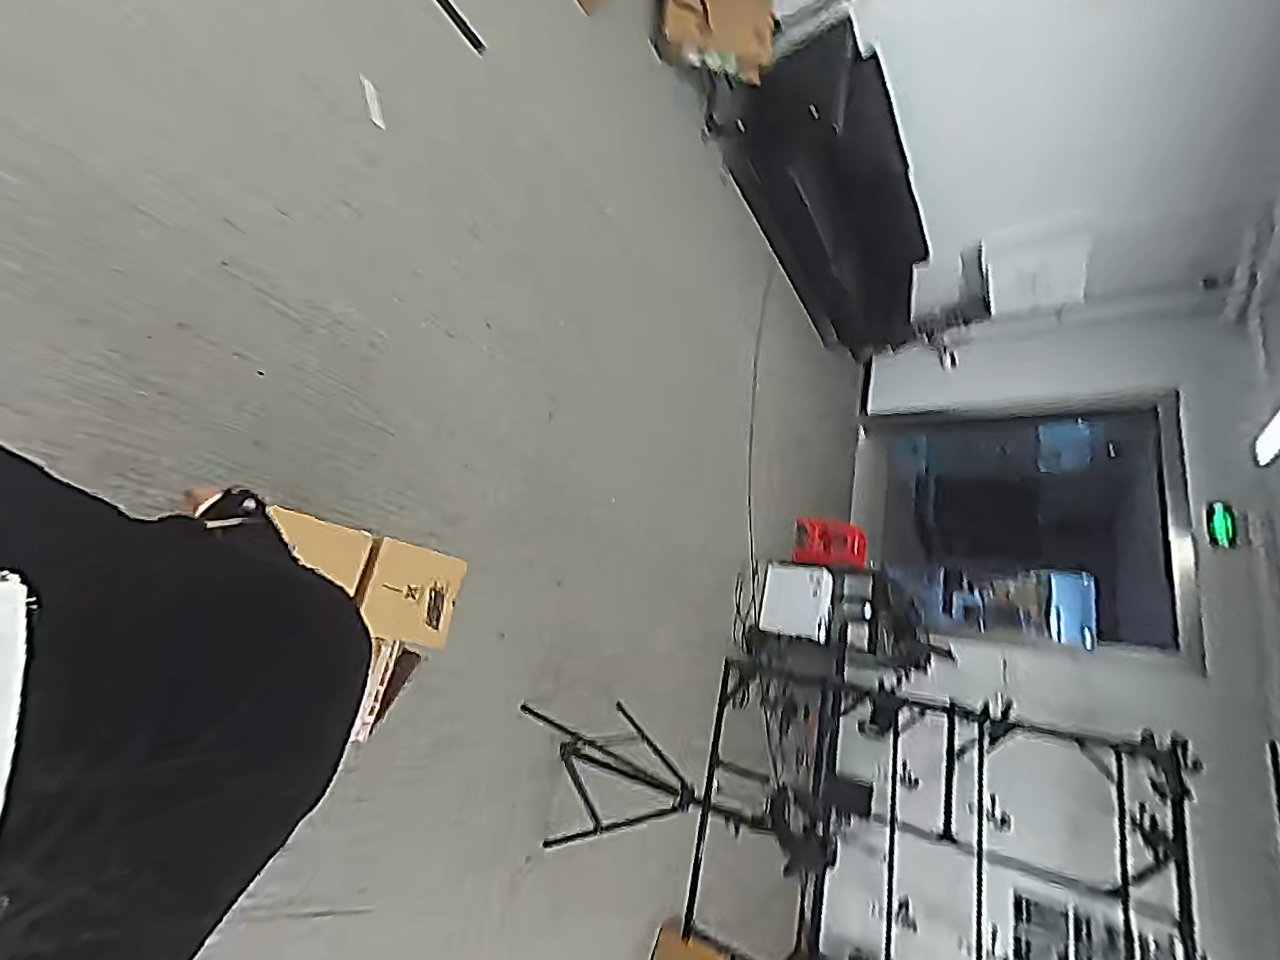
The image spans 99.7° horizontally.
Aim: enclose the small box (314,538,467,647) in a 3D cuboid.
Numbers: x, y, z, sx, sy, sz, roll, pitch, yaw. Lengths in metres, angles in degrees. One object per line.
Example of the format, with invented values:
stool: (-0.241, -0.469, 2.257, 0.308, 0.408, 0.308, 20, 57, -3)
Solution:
small box: (-0.465, 0.207, 1.015, 0.179, 0.176, 0.168, 32, 63, -46)
